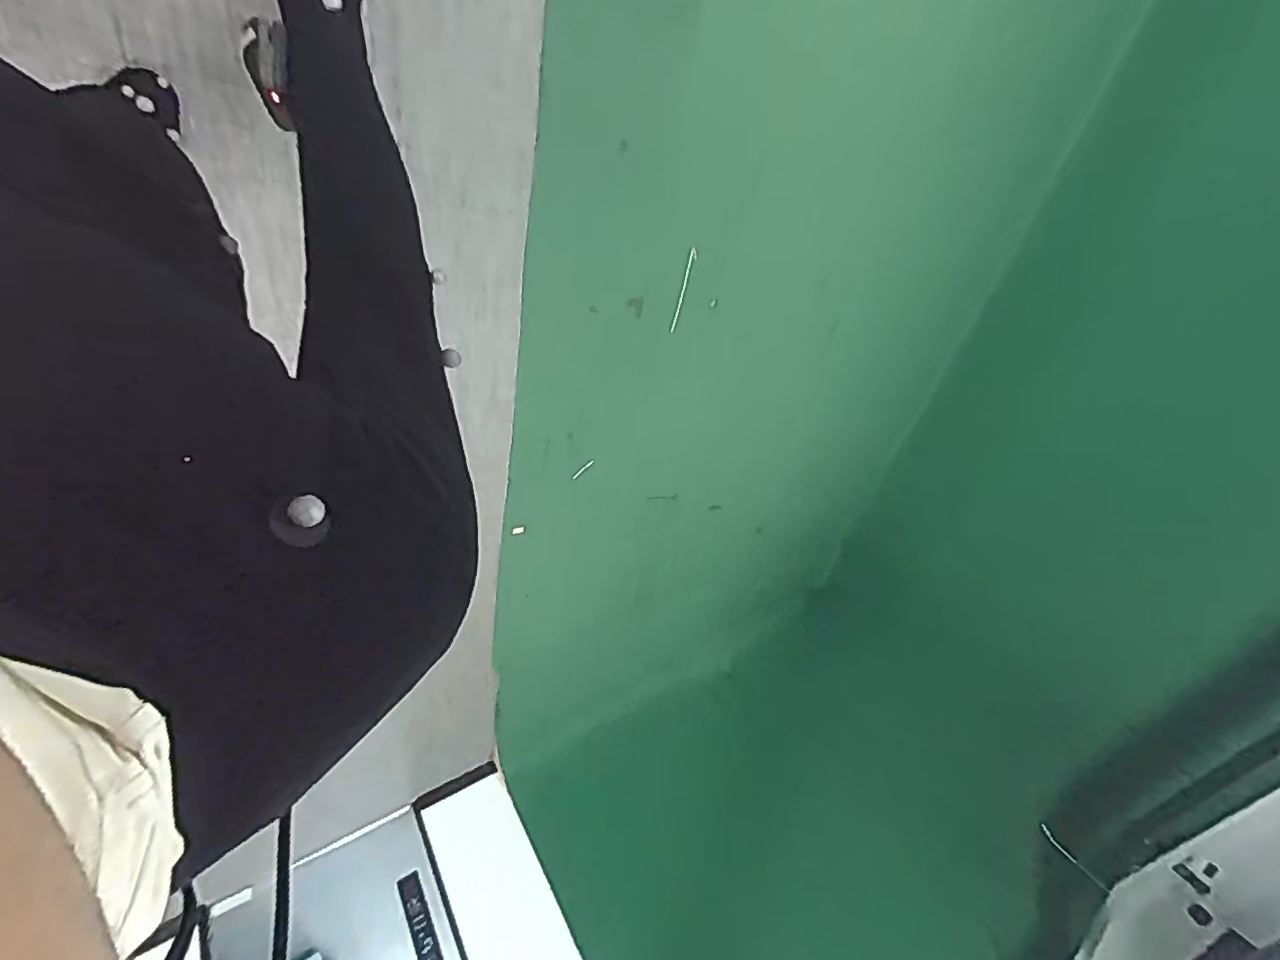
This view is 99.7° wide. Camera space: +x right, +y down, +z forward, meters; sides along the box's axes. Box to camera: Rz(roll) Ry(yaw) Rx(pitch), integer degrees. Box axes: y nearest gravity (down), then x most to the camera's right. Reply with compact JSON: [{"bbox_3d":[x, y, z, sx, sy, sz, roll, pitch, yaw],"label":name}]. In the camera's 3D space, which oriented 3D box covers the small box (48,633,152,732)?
[{"bbox_3d":[-1.537,0.573,1.550,0.179,0.176,0.168,-13,133,-34],"label":"small box"}]
